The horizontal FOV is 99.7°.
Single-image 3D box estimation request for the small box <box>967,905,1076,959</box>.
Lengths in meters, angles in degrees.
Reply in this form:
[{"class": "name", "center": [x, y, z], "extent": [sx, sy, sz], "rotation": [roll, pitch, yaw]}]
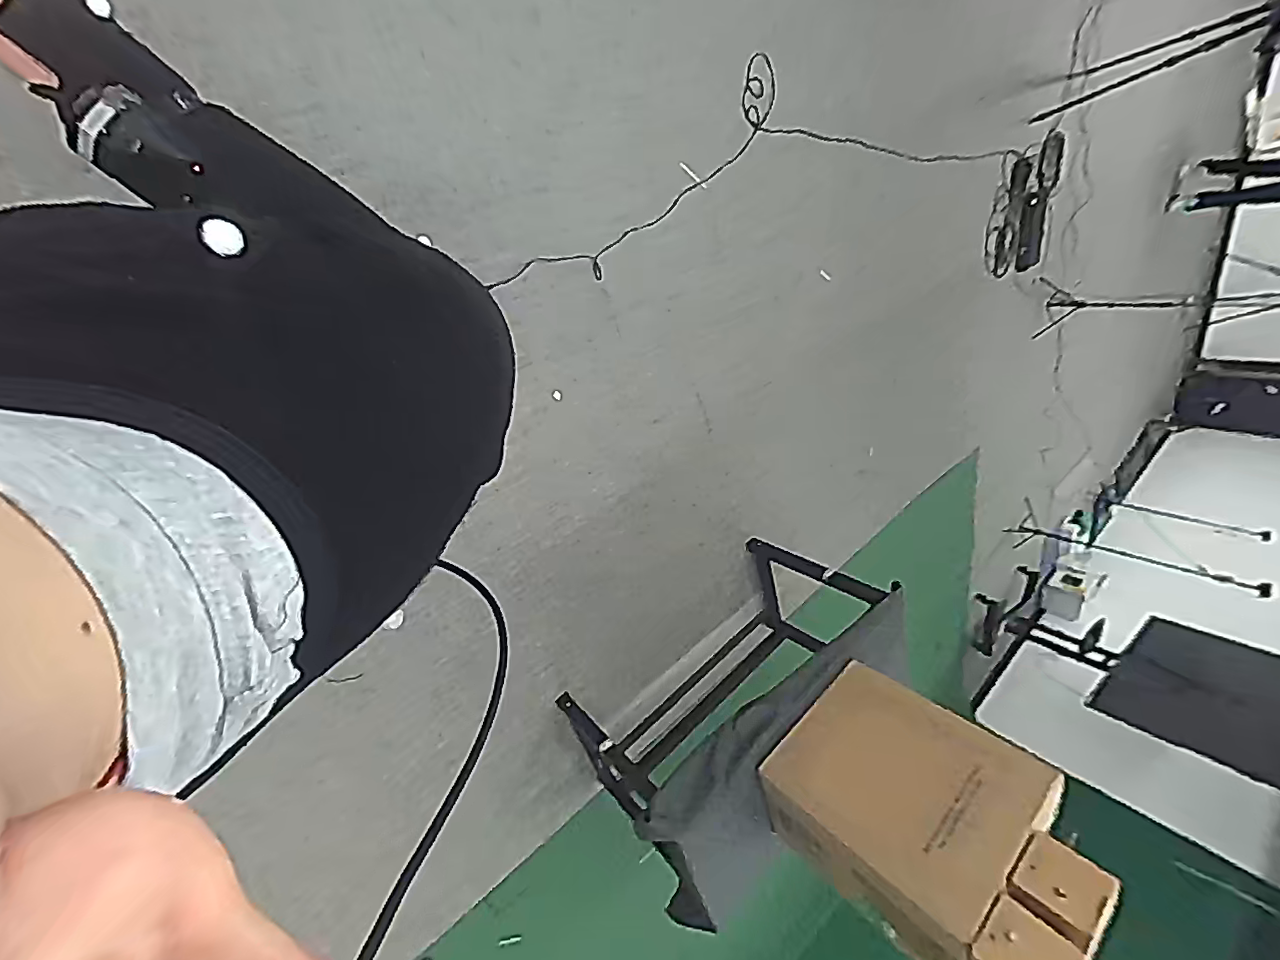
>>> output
[{"class": "small box", "center": [0.867, 1.125, 1.225], "extent": [0.168, 0.176, 0.179], "rotation": [-34, 122, -24]}]
